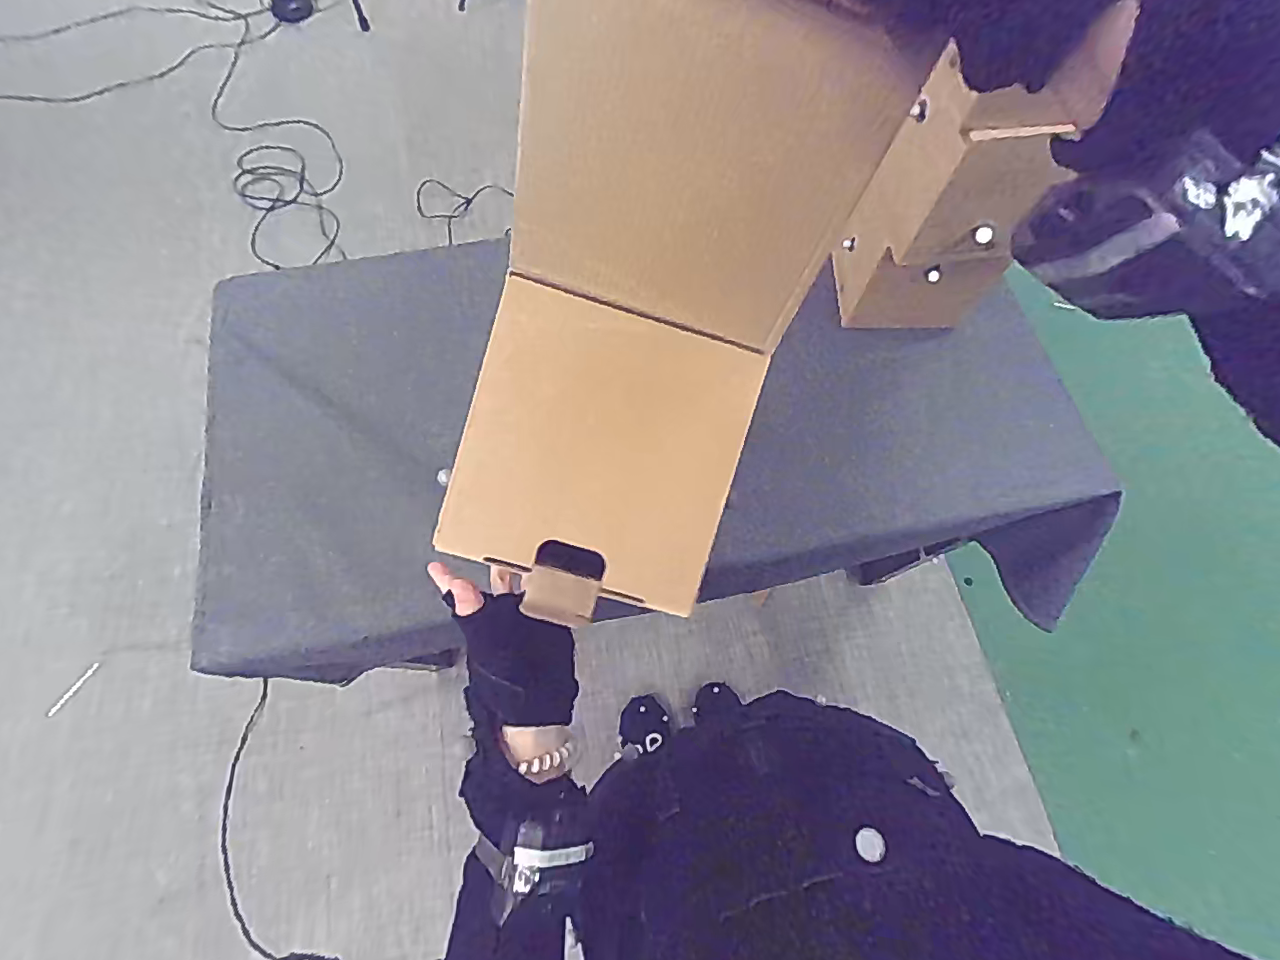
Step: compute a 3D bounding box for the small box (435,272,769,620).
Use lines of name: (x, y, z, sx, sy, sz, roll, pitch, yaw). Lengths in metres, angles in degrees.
small box: (-0.028, -0.027, 0.406, 0.168, 0.176, 0.179, 17, 98, -5)

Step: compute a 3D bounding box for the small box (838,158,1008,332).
small box: (0.395, -0.328, 0.771, 0.179, 0.176, 0.168, 1, 69, 1)

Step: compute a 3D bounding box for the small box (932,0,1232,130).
small box: (0.378, -0.432, 0.461, 0.179, 0.176, 0.168, -3, 69, 0)

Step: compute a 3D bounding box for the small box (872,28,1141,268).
small box: (0.386, -0.370, 0.612, 0.168, 0.176, 0.179, -5, 69, 0)
